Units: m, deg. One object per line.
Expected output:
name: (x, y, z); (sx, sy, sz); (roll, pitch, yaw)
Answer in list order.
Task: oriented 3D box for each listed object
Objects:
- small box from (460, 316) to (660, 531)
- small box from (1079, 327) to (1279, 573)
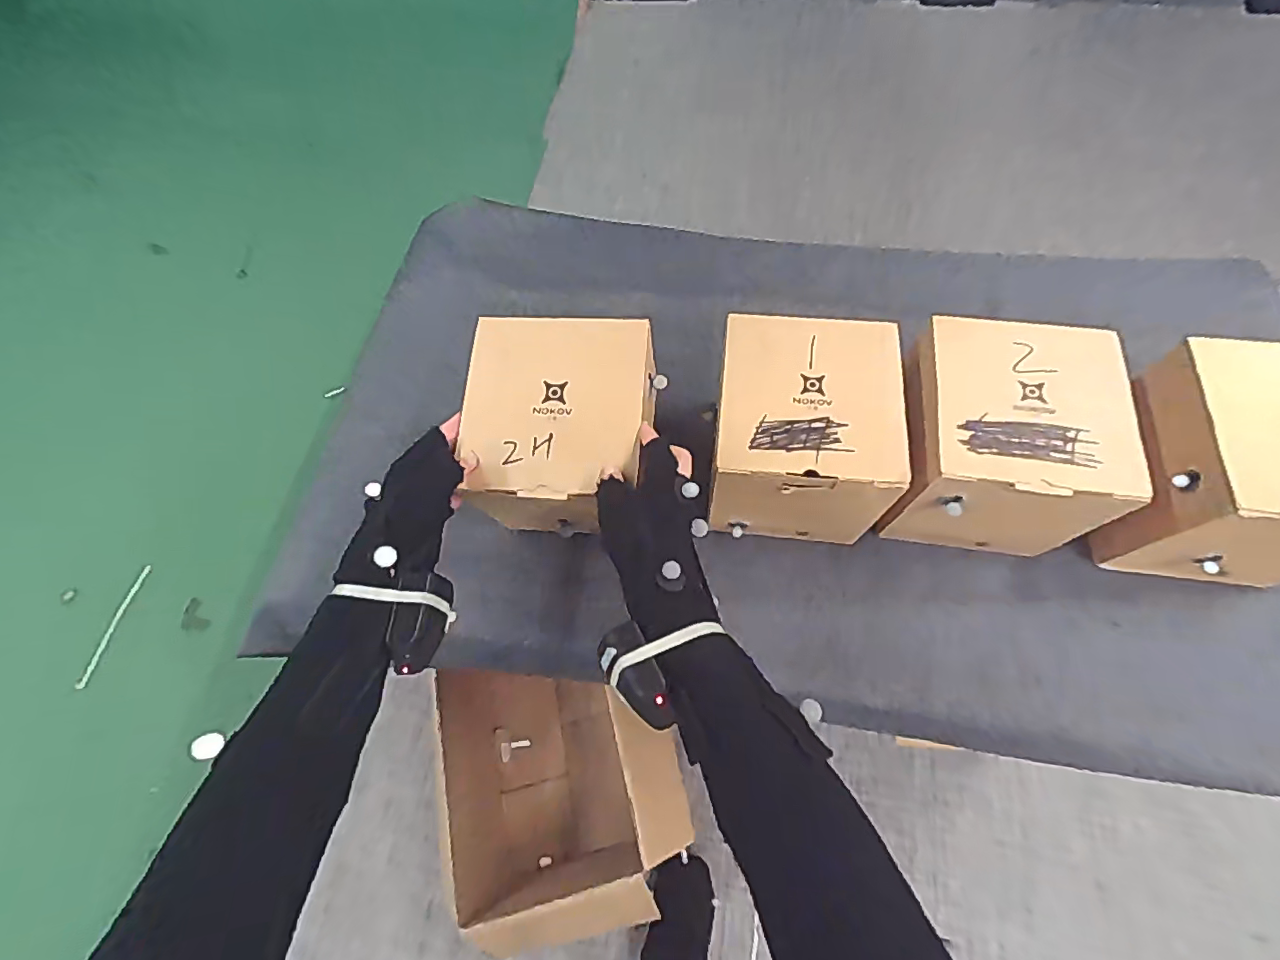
small box: (-0.067, -0.051, 0.569); (0.168, 0.176, 0.179); (2, 74, 6)
small box: (0.575, -0.022, 0.525); (0.168, 0.176, 0.179); (5, 67, 7)
